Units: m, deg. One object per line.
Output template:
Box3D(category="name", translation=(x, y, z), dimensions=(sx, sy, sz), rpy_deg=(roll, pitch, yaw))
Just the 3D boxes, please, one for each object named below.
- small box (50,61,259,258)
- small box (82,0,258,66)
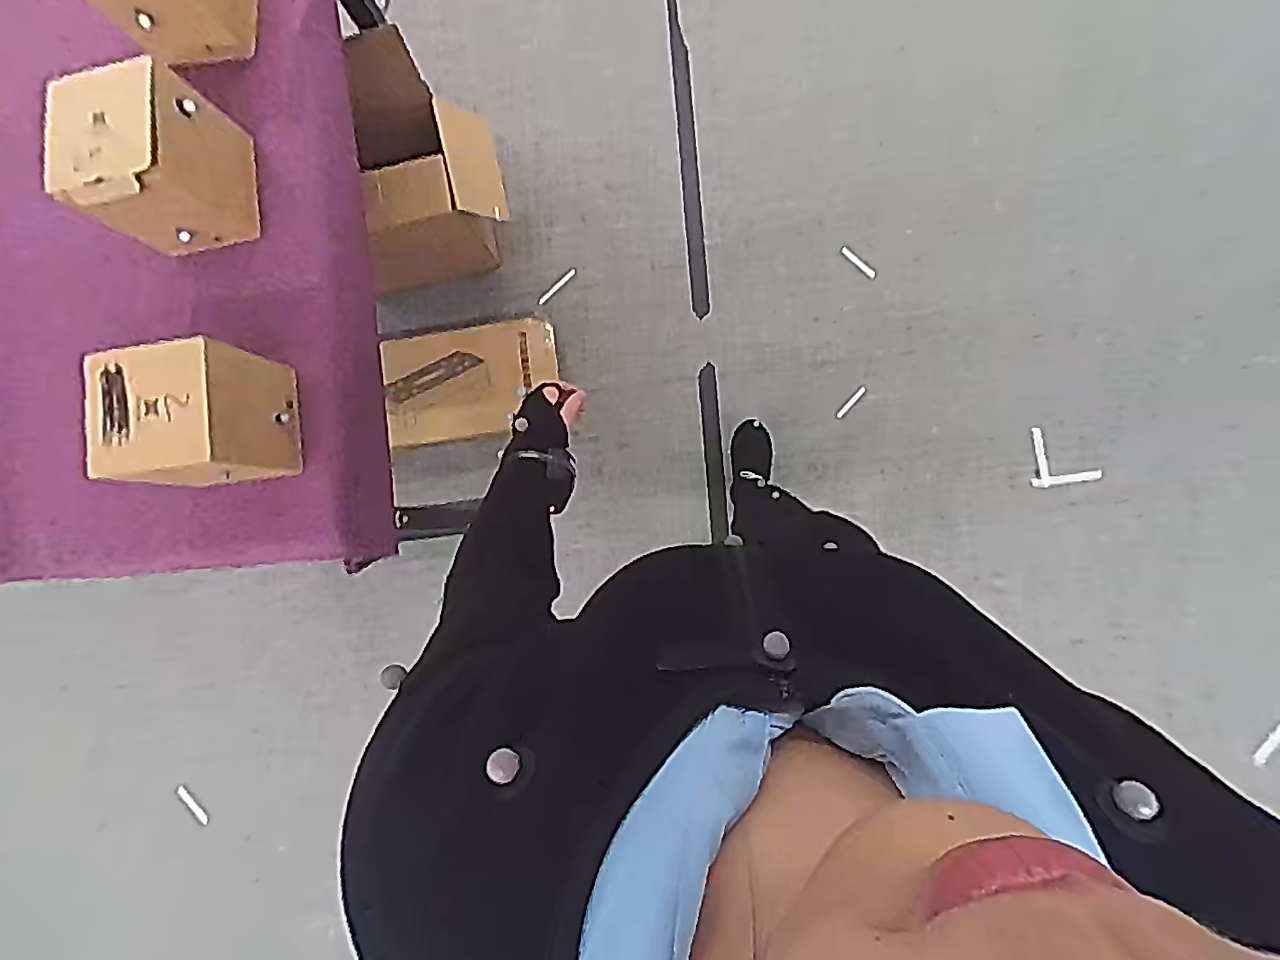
Box3D(category="small box", translation=(-0.712, -0.465, 0.809), dimensions=(0.168, 0.176, 0.179), rpy_deg=(-8, 85, 7))
Box3D(category="small box", translation=(-0.729, -0.782, 0.835), dimensions=(0.168, 0.176, 0.179), rpy_deg=(-1, 85, 6))
